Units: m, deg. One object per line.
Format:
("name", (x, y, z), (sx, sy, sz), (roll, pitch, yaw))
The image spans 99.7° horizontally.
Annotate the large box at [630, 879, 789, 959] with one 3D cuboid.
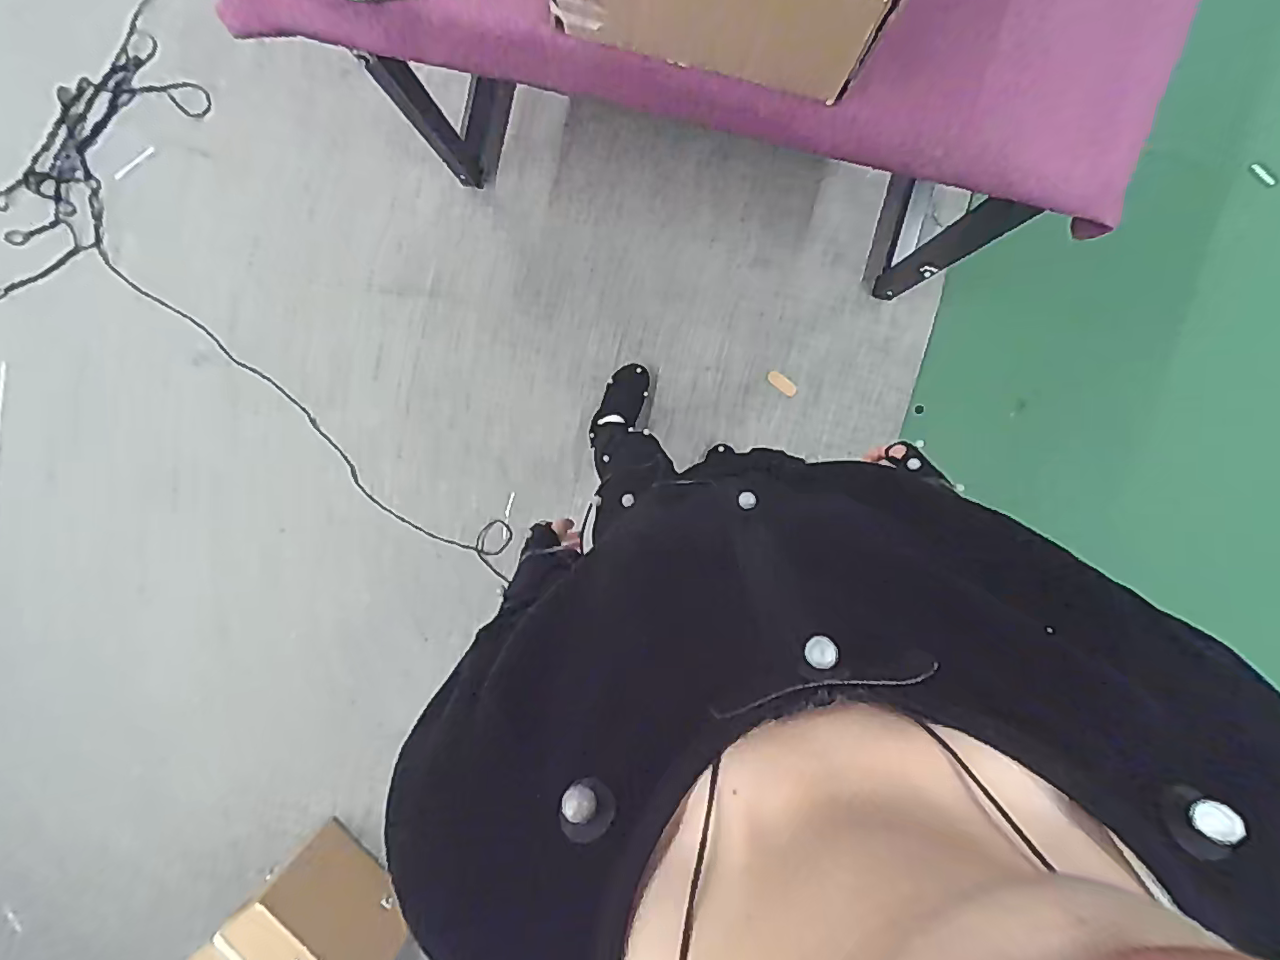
("large box", (0.182, 1.352, 1.472), (0.408, 0.320, 0.320), (0, 96, 2))
